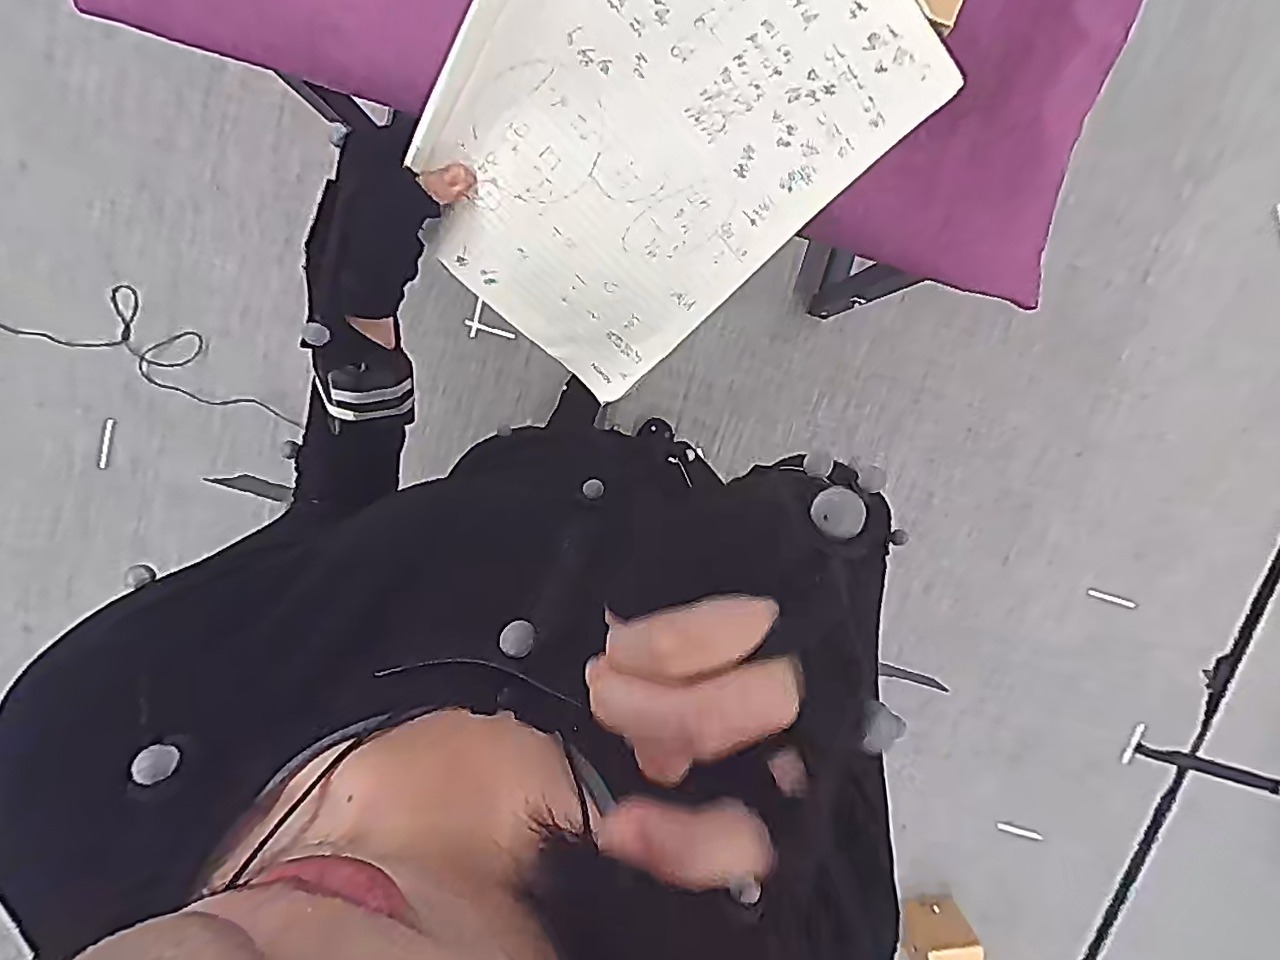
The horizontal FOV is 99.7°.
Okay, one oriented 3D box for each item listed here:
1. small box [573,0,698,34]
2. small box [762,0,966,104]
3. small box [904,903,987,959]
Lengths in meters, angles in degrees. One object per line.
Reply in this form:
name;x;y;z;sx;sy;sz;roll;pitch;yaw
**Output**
small box;0.004;-0.639;0.585;0.179;0.176;0.168;16;97;-4
small box;0.259;-0.565;0.603;0.179;0.176;0.168;19;96;-2
small box;0.936;1.460;1.668;0.168;0.176;0.179;-6;98;-1
